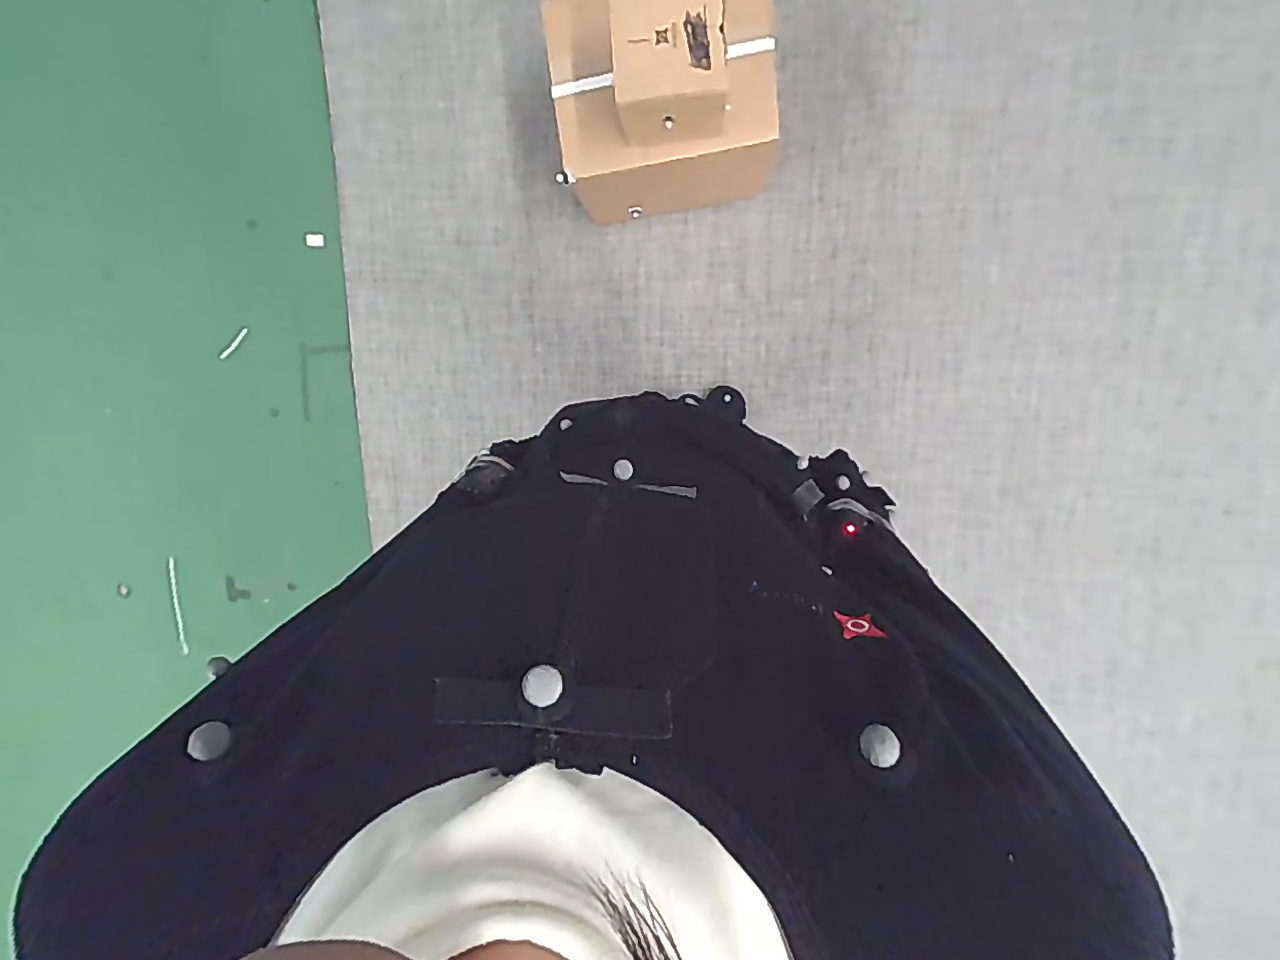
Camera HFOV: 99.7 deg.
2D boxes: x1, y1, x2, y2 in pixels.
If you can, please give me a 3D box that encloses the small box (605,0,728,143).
[{"bbox_3d":[0.045,-0.688,0.895,0.179,0.176,0.168,-6,101,6],"label":"small box"}]
